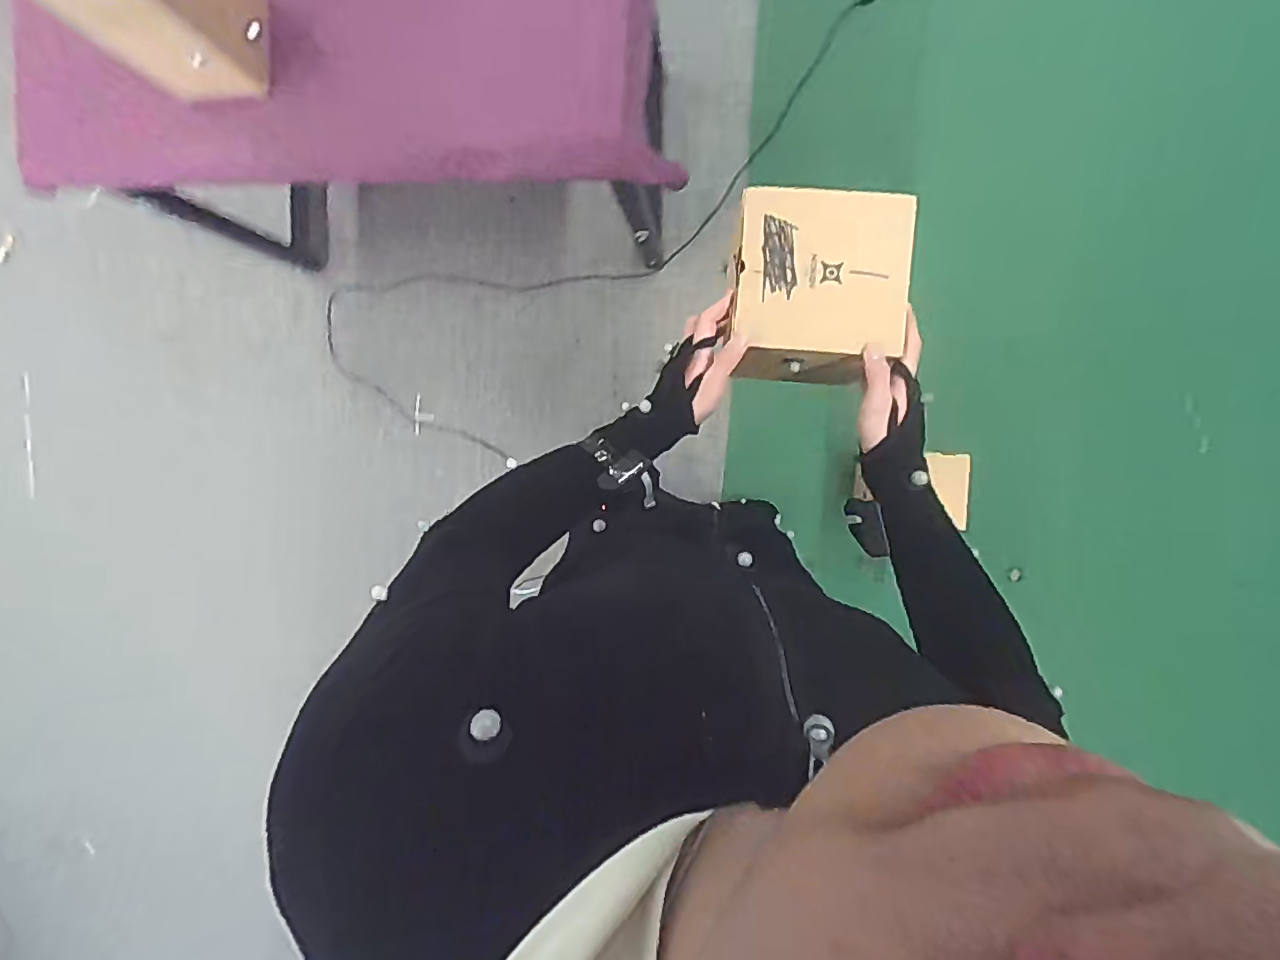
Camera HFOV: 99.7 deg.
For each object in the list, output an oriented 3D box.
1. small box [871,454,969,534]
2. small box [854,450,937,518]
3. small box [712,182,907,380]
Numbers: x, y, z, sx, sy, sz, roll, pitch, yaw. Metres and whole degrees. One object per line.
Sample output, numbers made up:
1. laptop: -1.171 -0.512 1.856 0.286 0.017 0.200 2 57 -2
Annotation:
1. small box: 0.667 0.028 1.306 0.168 0.176 0.179 2 92 8
2. small box: 0.688 0.012 1.466 0.168 0.176 0.179 5 94 8
3. small box: 0.179 -0.215 0.625 0.179 0.176 0.168 5 90 3
